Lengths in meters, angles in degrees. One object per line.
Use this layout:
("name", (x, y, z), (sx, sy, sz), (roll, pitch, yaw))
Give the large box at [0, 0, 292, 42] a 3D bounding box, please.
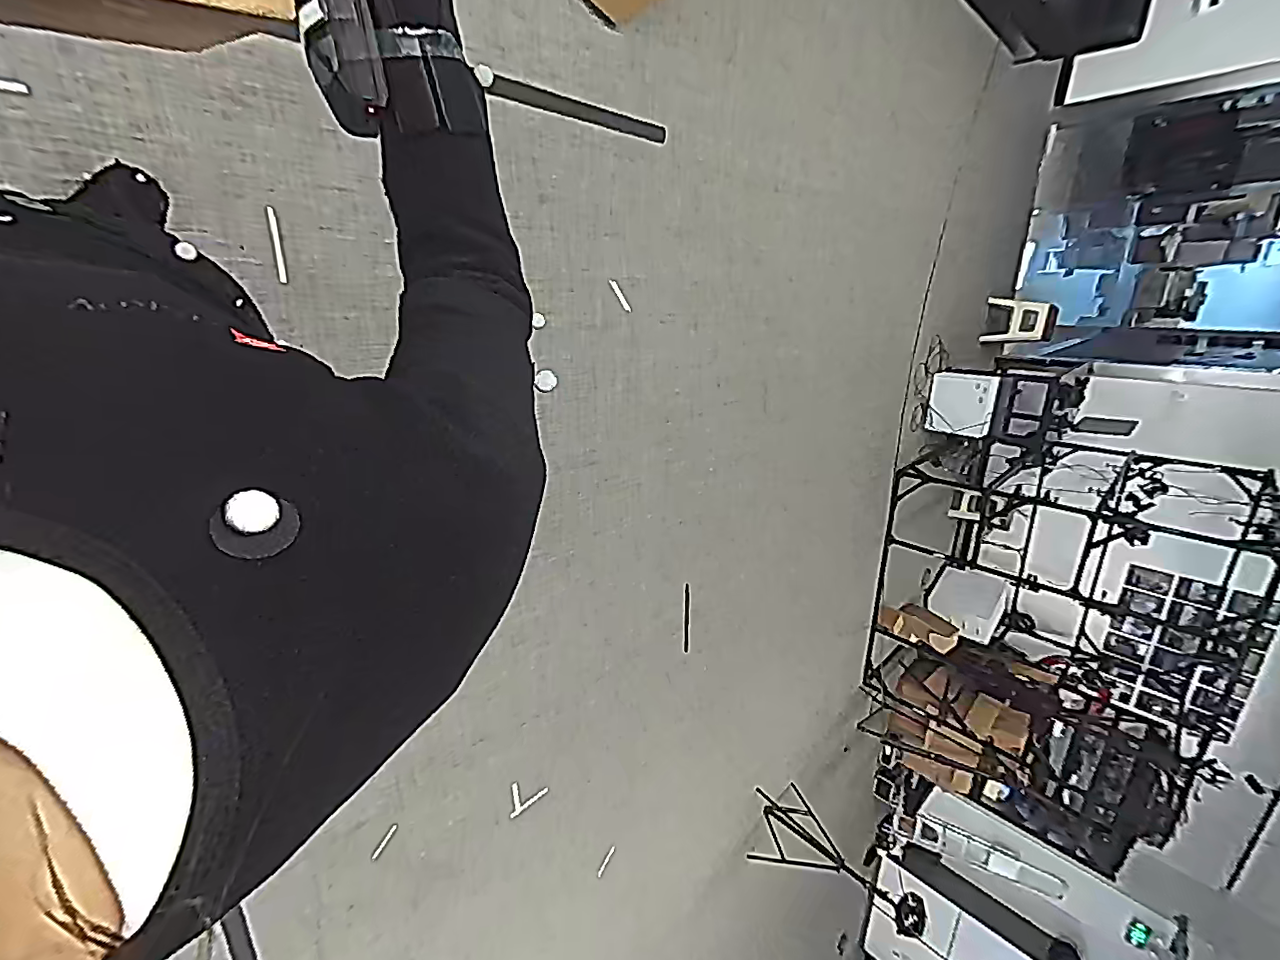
("large box", (-0.437, -0.401, 0.206), (0.408, 0.320, 0.320), (-23, 132, -38))
